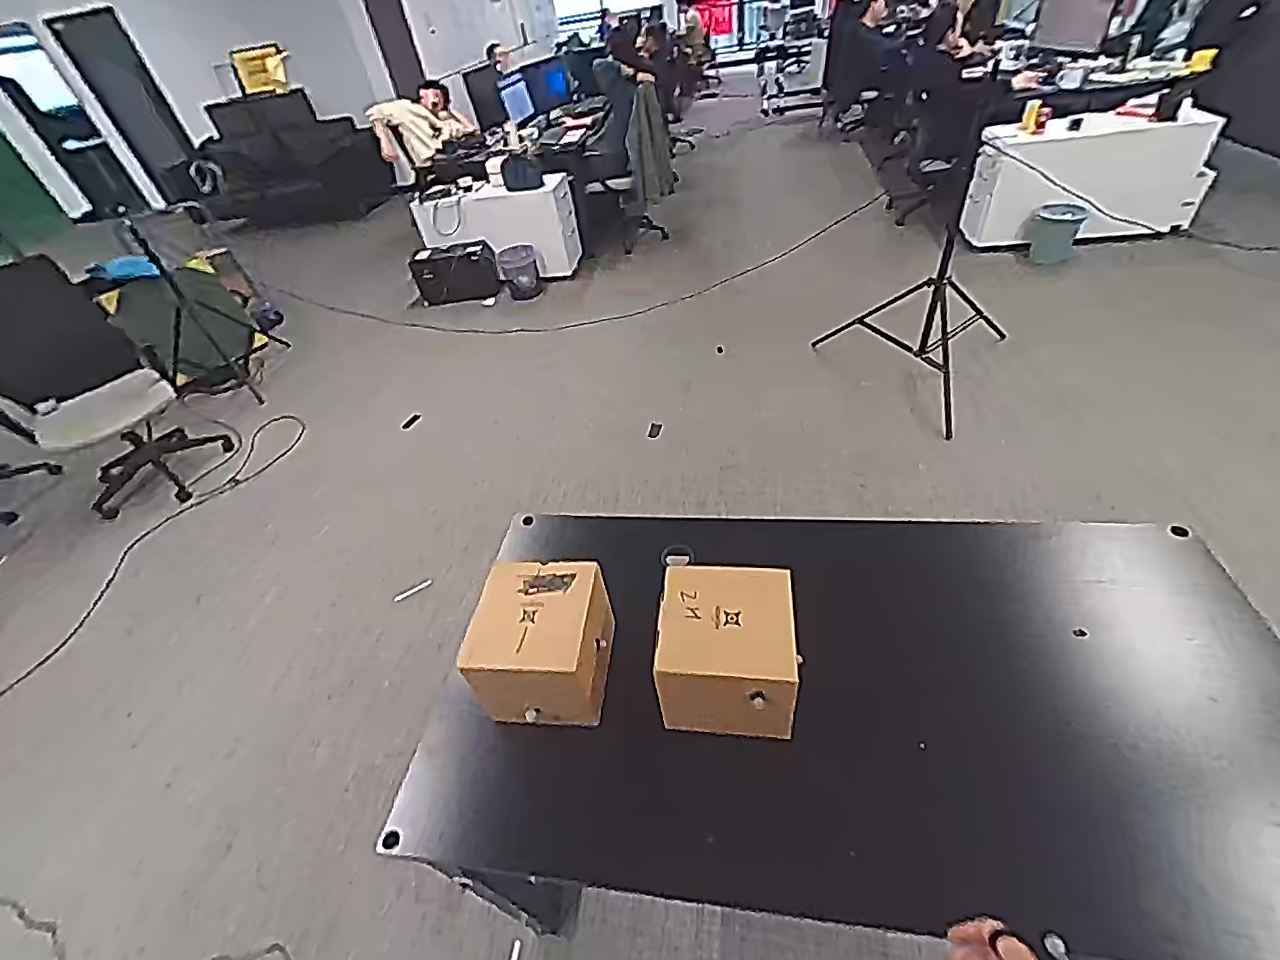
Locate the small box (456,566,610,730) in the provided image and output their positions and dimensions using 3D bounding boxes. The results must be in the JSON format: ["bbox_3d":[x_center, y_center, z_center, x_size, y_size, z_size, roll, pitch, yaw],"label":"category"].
[{"bbox_3d":[-0.145,0.249,0.811,0.168,0.176,0.179,-1,44,9],"label":"small box"}]

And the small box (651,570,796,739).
[{"bbox_3d":[0.118,0.247,0.763,0.179,0.176,0.168,0,43,10],"label":"small box"}]
